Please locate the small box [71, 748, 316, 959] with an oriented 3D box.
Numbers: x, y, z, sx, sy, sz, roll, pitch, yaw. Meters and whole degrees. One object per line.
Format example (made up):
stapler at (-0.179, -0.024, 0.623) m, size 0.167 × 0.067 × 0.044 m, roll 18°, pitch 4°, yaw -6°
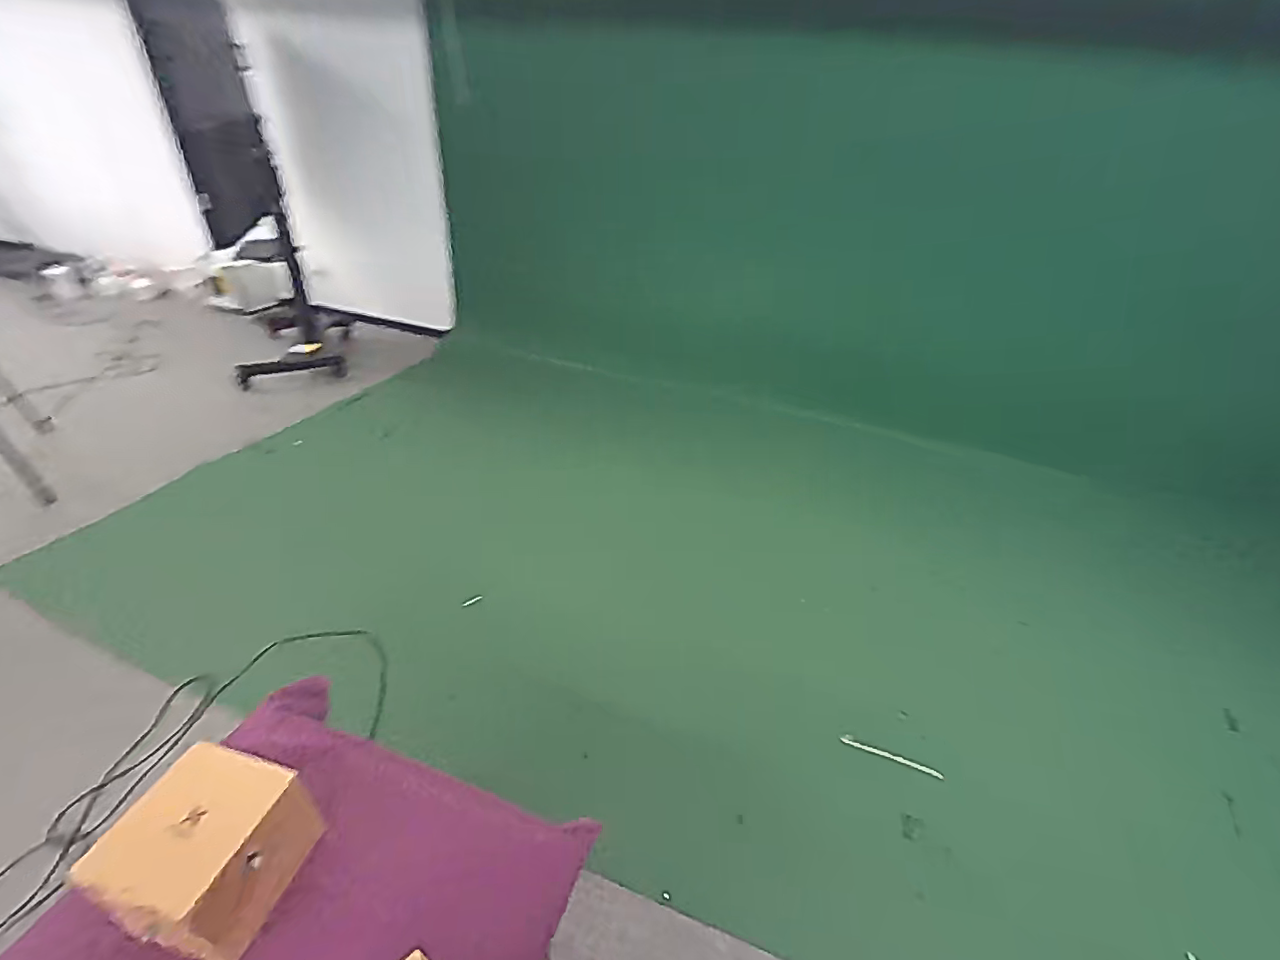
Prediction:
small box at (-0.575, 0.507, 0.732) m, size 0.168 × 0.176 × 0.179 m, roll 11°, pitch 36°, yaw 9°
